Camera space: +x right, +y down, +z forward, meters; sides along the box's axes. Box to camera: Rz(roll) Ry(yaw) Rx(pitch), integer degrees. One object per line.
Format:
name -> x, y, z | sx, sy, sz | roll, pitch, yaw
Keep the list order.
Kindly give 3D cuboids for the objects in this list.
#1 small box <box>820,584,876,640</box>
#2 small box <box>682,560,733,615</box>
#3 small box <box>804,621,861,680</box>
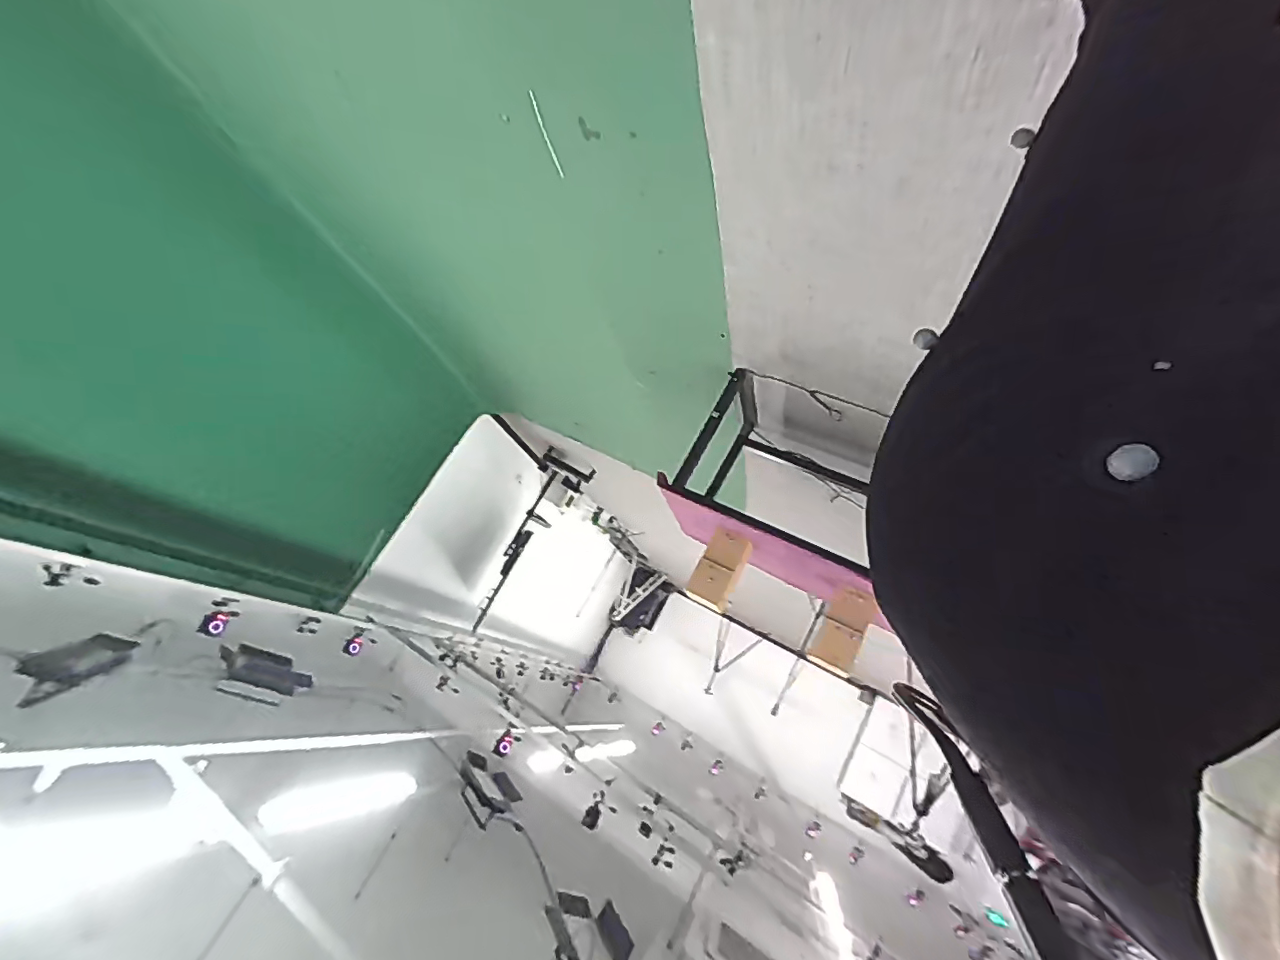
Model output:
small box -> 0.860, 0.555, 2.241 | 0.168, 0.176, 0.179 | 24, 164, 23
small box -> 0.305, 0.477, 2.411 | 0.168, 0.176, 0.179 | 25, 164, 22
small box -> 0.780, 0.688, 2.191 | 0.168, 0.176, 0.179 | 24, 165, 23
